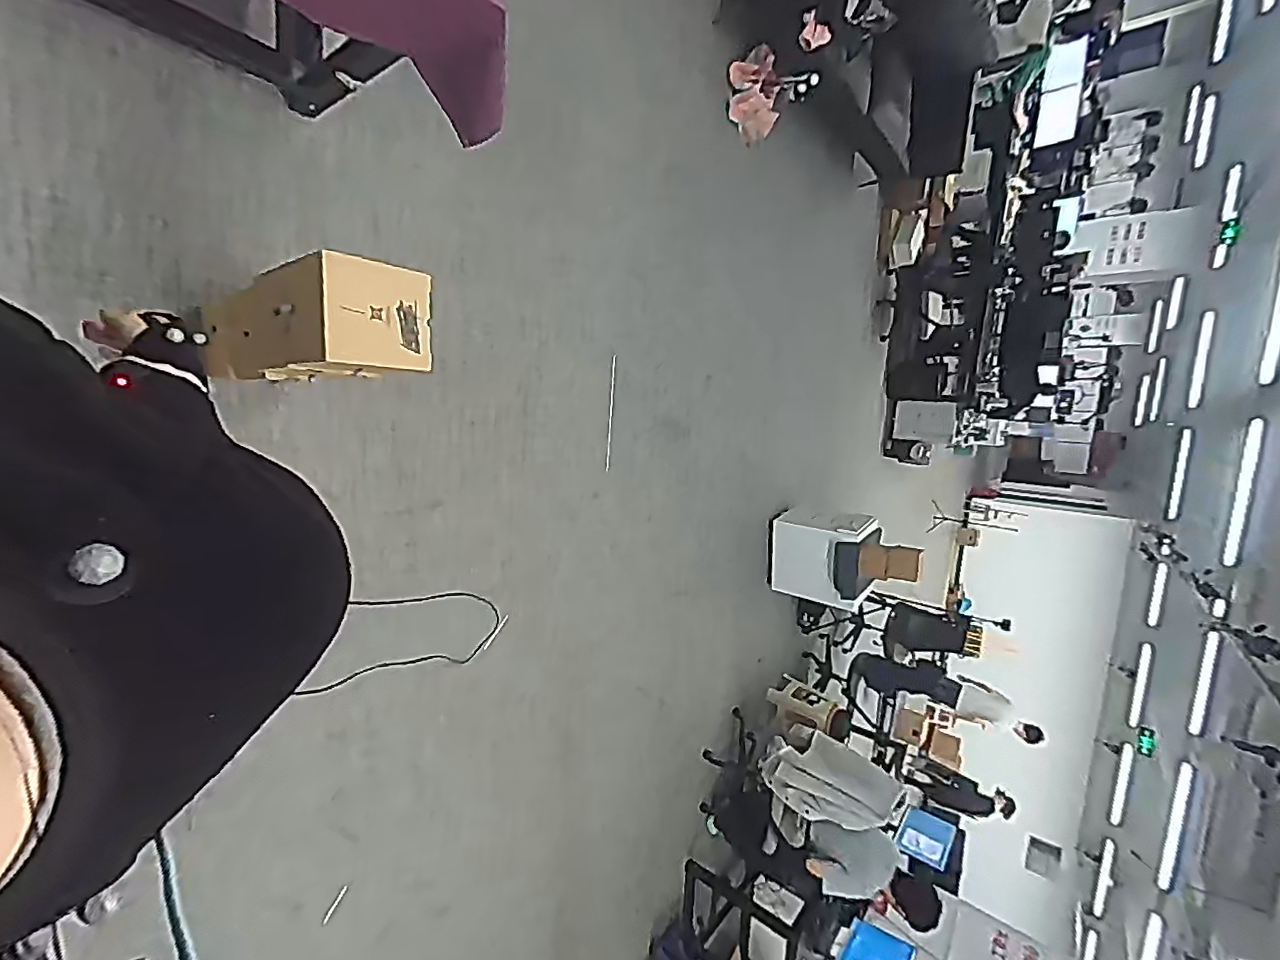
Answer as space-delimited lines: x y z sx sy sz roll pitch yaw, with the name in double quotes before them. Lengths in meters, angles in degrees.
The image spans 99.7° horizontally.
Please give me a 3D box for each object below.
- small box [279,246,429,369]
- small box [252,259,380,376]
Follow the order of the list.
"small box" -0.483 -0.280 0.918 0.179 0.176 0.168 -6 101 -50
"small box" -0.611 -0.296 1.021 0.168 0.176 0.179 -4 99 -51
